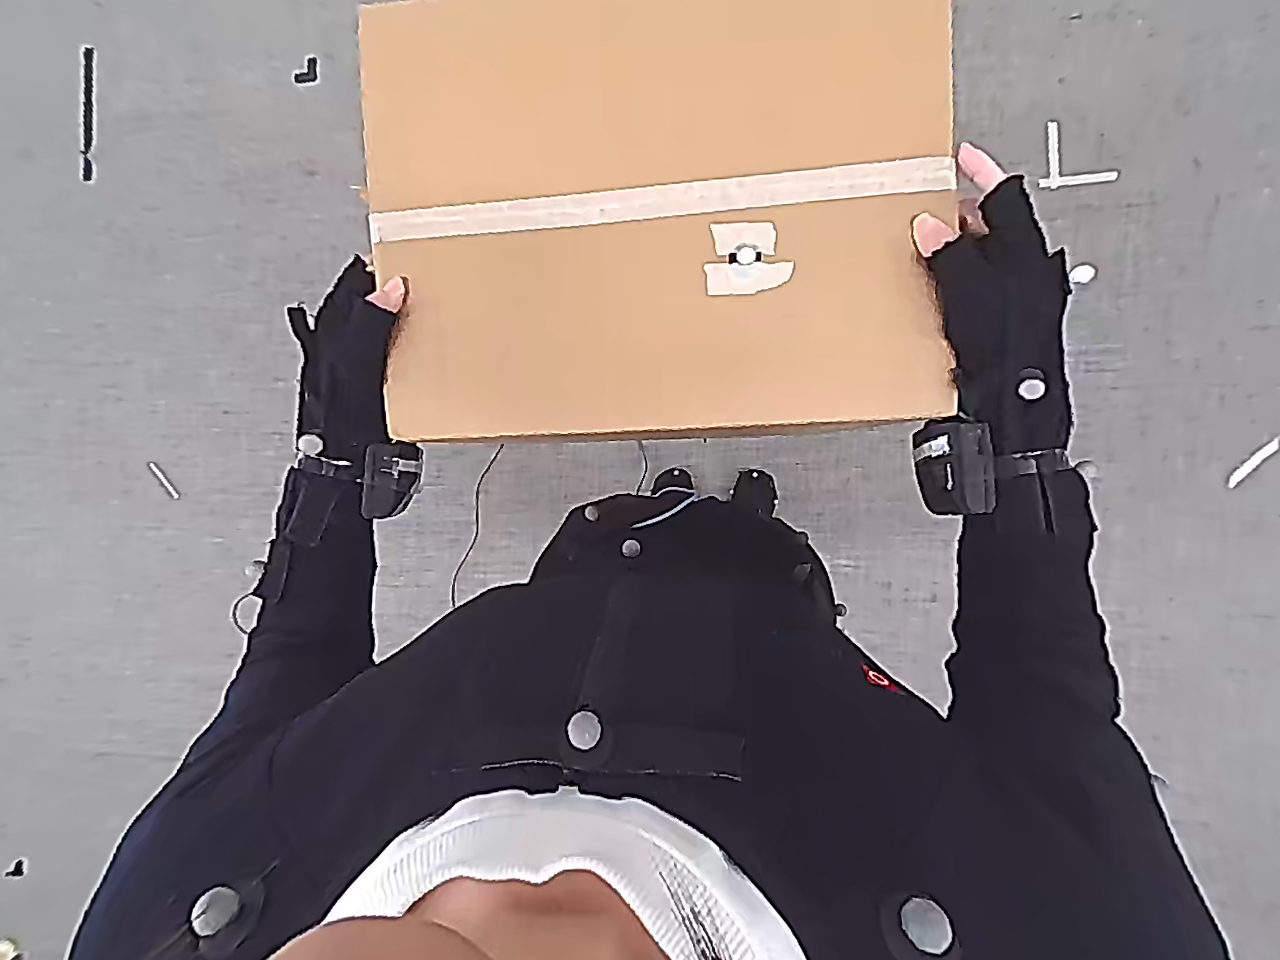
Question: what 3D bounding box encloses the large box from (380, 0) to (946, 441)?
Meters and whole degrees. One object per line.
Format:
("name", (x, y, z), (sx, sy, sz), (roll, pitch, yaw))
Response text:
("large box", (0.022, -0.207, 0.539), (0.408, 0.320, 0.320), (-2, 94, 6))
